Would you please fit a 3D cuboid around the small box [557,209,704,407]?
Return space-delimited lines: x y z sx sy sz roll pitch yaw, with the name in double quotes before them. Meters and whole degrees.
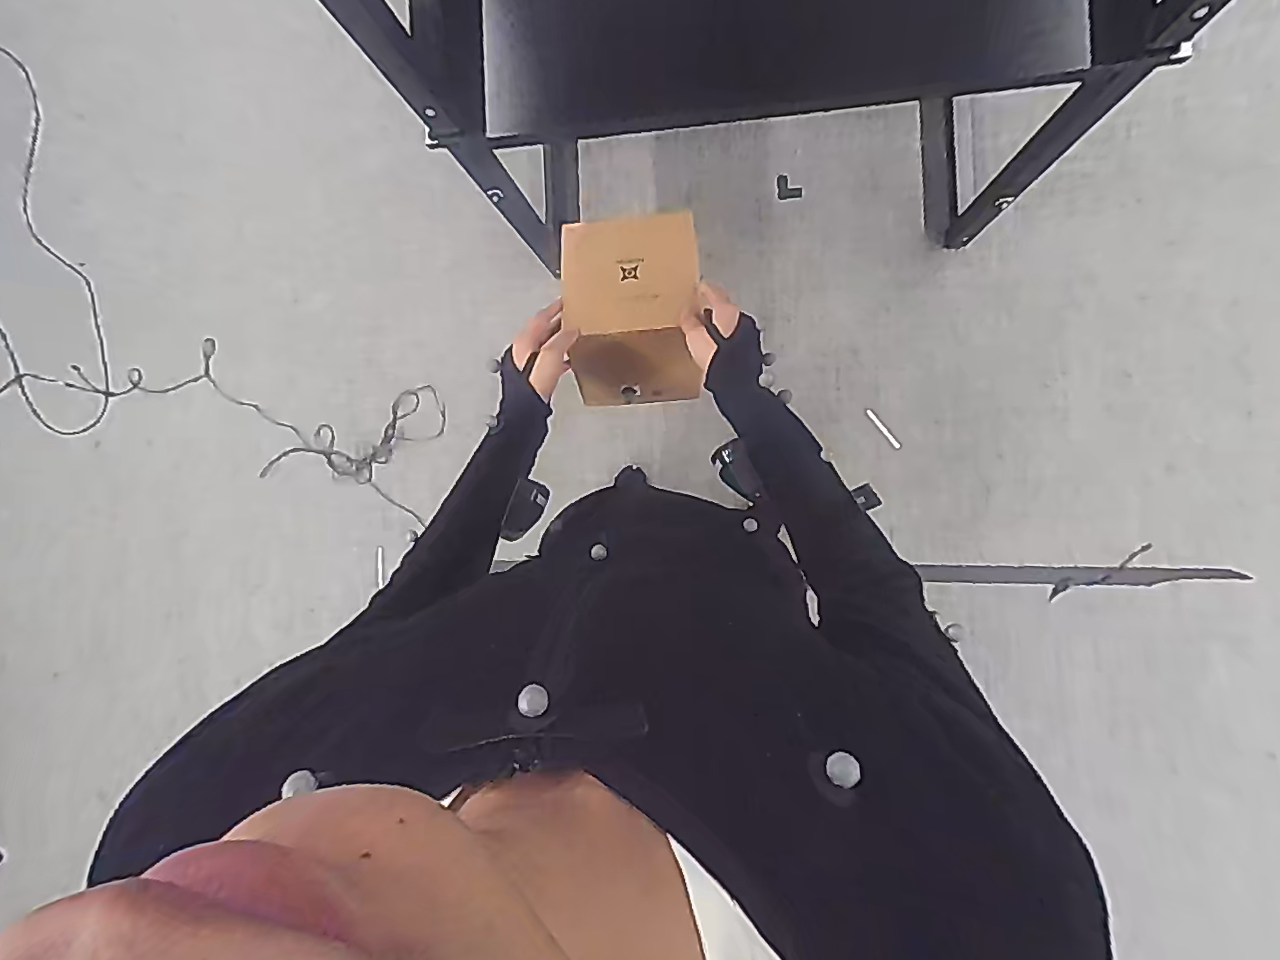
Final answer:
"small box" -0.009 -0.214 0.701 0.168 0.176 0.179 -4 67 3
